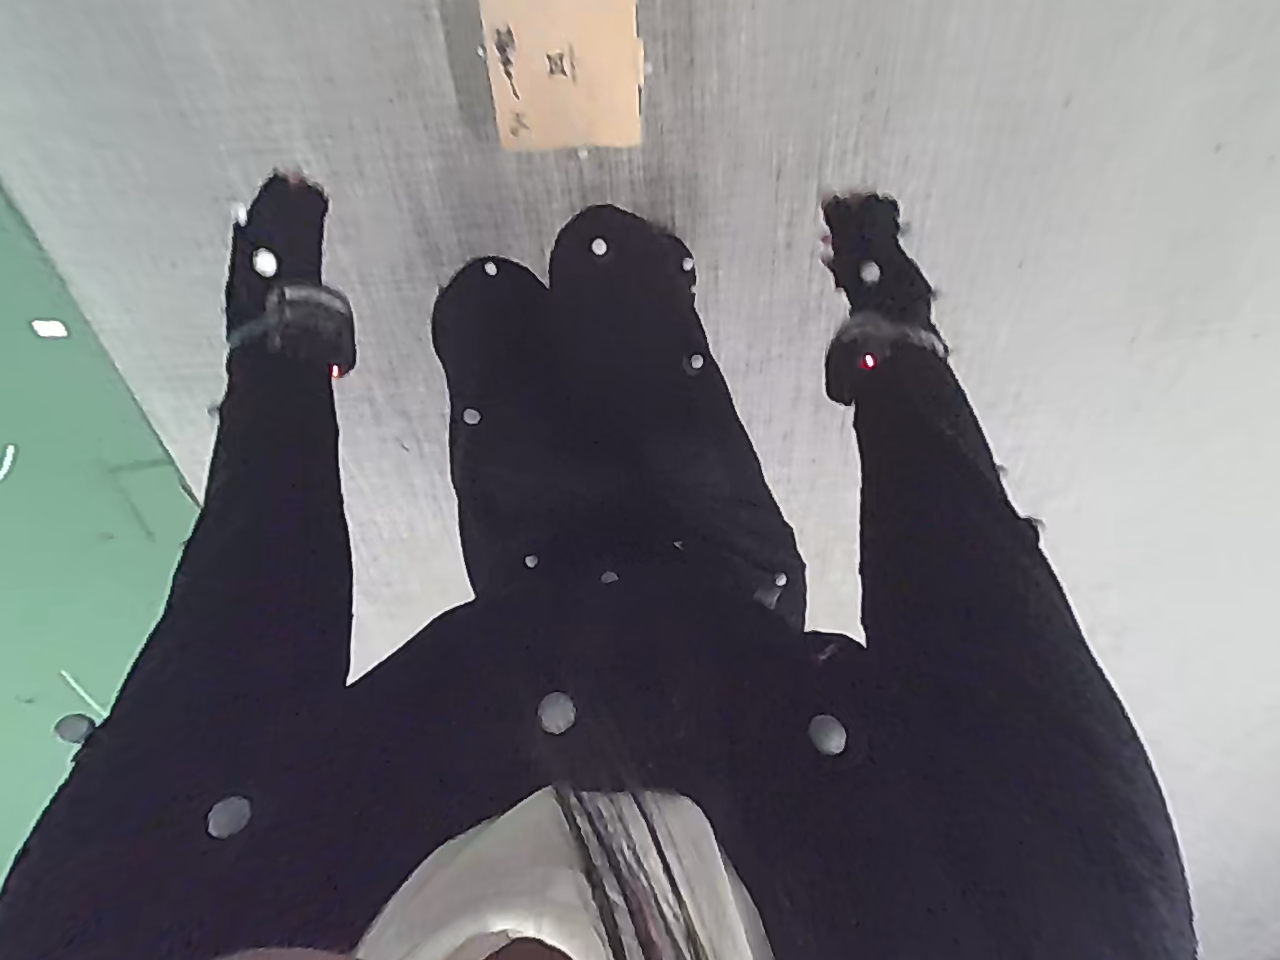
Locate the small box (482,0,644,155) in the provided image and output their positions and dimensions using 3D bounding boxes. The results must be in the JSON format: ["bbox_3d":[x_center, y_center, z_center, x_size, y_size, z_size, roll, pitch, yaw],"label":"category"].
[{"bbox_3d":[-0.088,-0.520,0.695,0.179,0.176,0.168,-2,123,1],"label":"small box"}]
